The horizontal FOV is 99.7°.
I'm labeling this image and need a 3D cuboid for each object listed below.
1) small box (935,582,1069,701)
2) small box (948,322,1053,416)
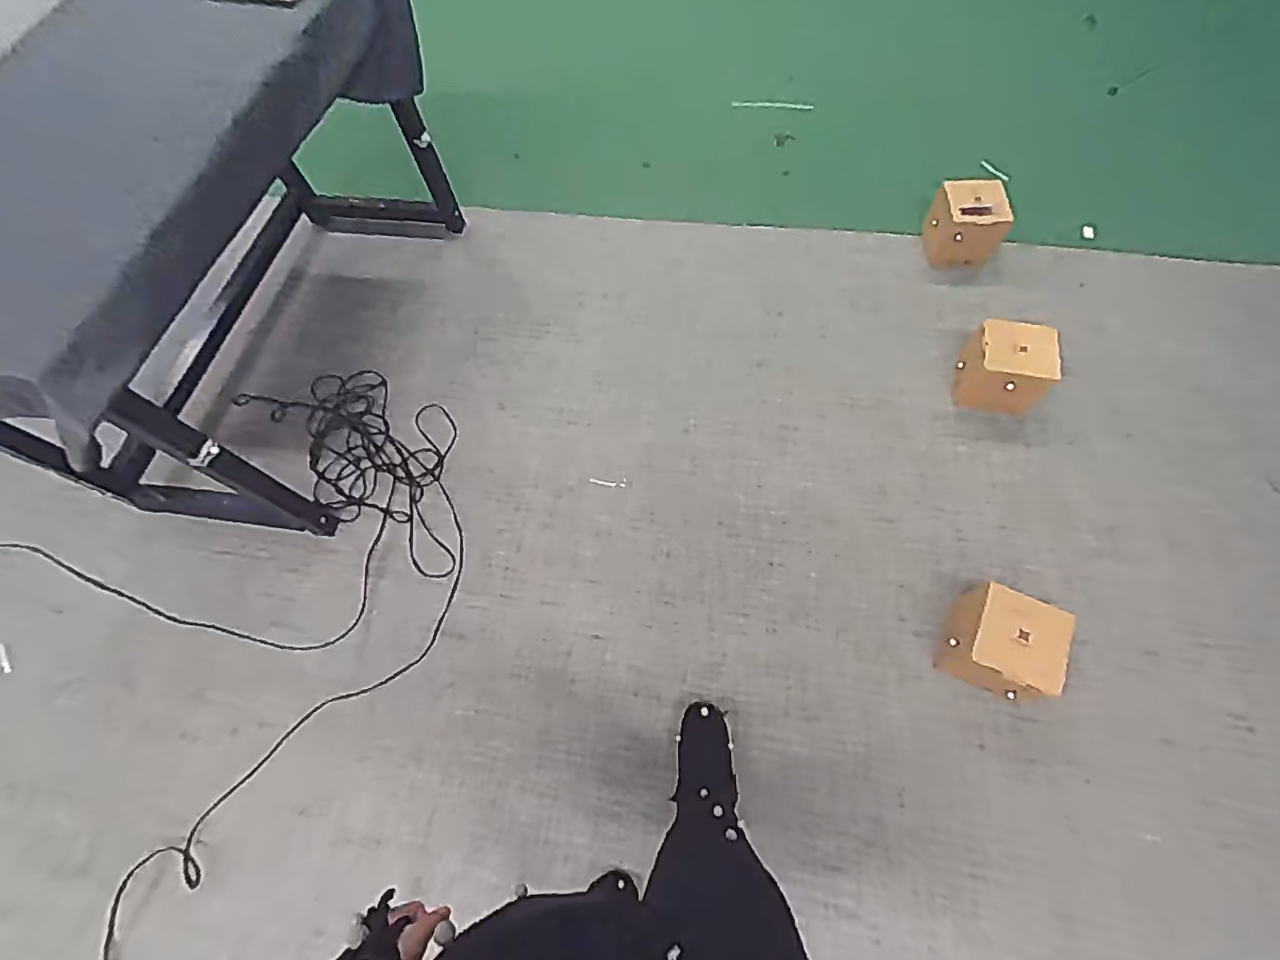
[{"bbox_3d":[0.752,0.346,1.139,0.168,0.176,0.179,23,67,13],"label":"small box"},{"bbox_3d":[0.943,-0.286,1.426,0.179,0.176,0.168,11,66,10],"label":"small box"}]
